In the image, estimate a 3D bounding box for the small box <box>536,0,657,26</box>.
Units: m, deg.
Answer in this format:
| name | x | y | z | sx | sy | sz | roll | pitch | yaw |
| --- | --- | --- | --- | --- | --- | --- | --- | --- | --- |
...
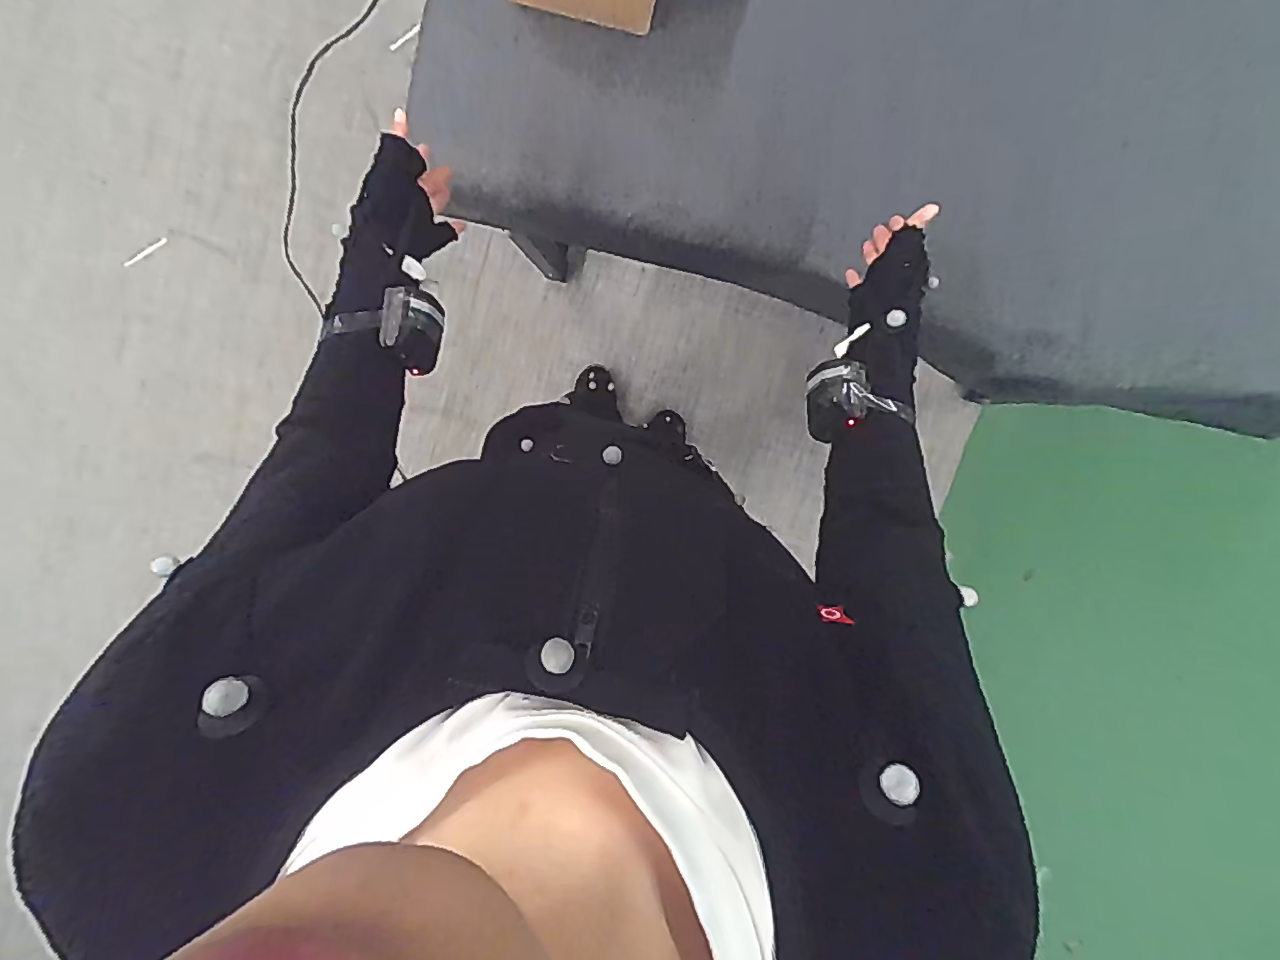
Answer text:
| name | x | y | z | sx | sy | sz | roll | pitch | yaw |
| --- | --- | --- | --- | --- | --- | --- | --- | --- | --- |
| small box | -0.055 | -0.627 | 0.562 | 0.179 | 0.176 | 0.168 | 14 | 98 | 0 |
